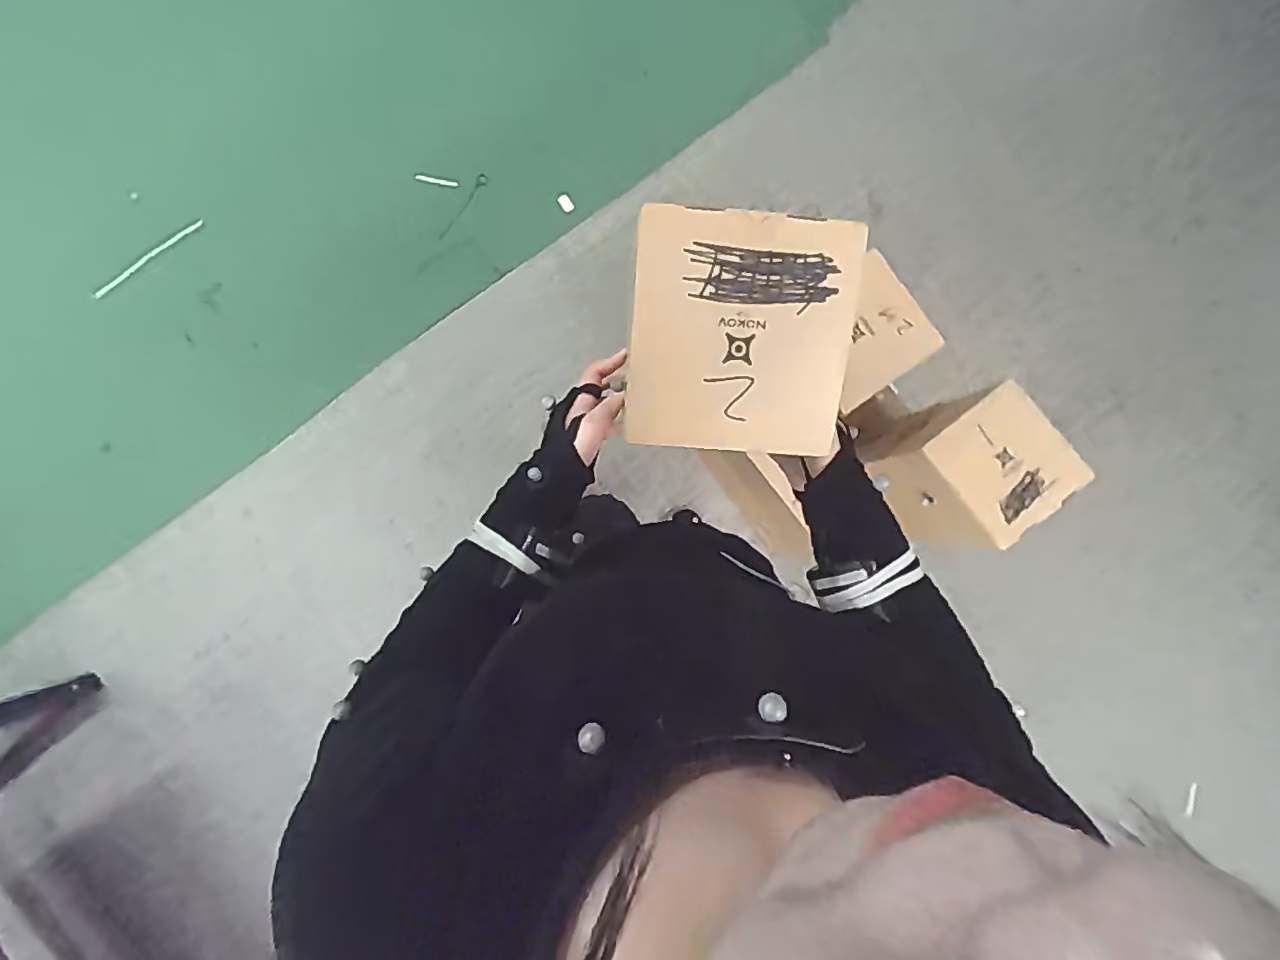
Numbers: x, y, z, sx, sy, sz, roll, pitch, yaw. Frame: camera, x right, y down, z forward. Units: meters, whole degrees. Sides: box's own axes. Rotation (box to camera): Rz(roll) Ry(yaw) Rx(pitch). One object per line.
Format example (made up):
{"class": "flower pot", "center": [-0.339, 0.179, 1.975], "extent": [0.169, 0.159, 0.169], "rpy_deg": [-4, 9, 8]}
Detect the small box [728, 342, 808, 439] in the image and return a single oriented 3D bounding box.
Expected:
{"class": "small box", "center": [0.276, -0.189, 0.980], "extent": [0.179, 0.176, 0.168], "rpy_deg": [-35, 89, -2]}

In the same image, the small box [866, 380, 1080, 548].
{"class": "small box", "center": [0.483, -0.018, 0.813], "extent": [0.168, 0.176, 0.179], "rpy_deg": [-36, 87, -3]}

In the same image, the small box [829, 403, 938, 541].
{"class": "small box", "center": [0.479, -0.011, 0.977], "extent": [0.168, 0.176, 0.179], "rpy_deg": [-38, 87, -3]}

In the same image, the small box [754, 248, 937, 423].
{"class": "small box", "center": [0.291, -0.203, 0.816], "extent": [0.179, 0.176, 0.168], "rpy_deg": [-34, 90, -2]}
